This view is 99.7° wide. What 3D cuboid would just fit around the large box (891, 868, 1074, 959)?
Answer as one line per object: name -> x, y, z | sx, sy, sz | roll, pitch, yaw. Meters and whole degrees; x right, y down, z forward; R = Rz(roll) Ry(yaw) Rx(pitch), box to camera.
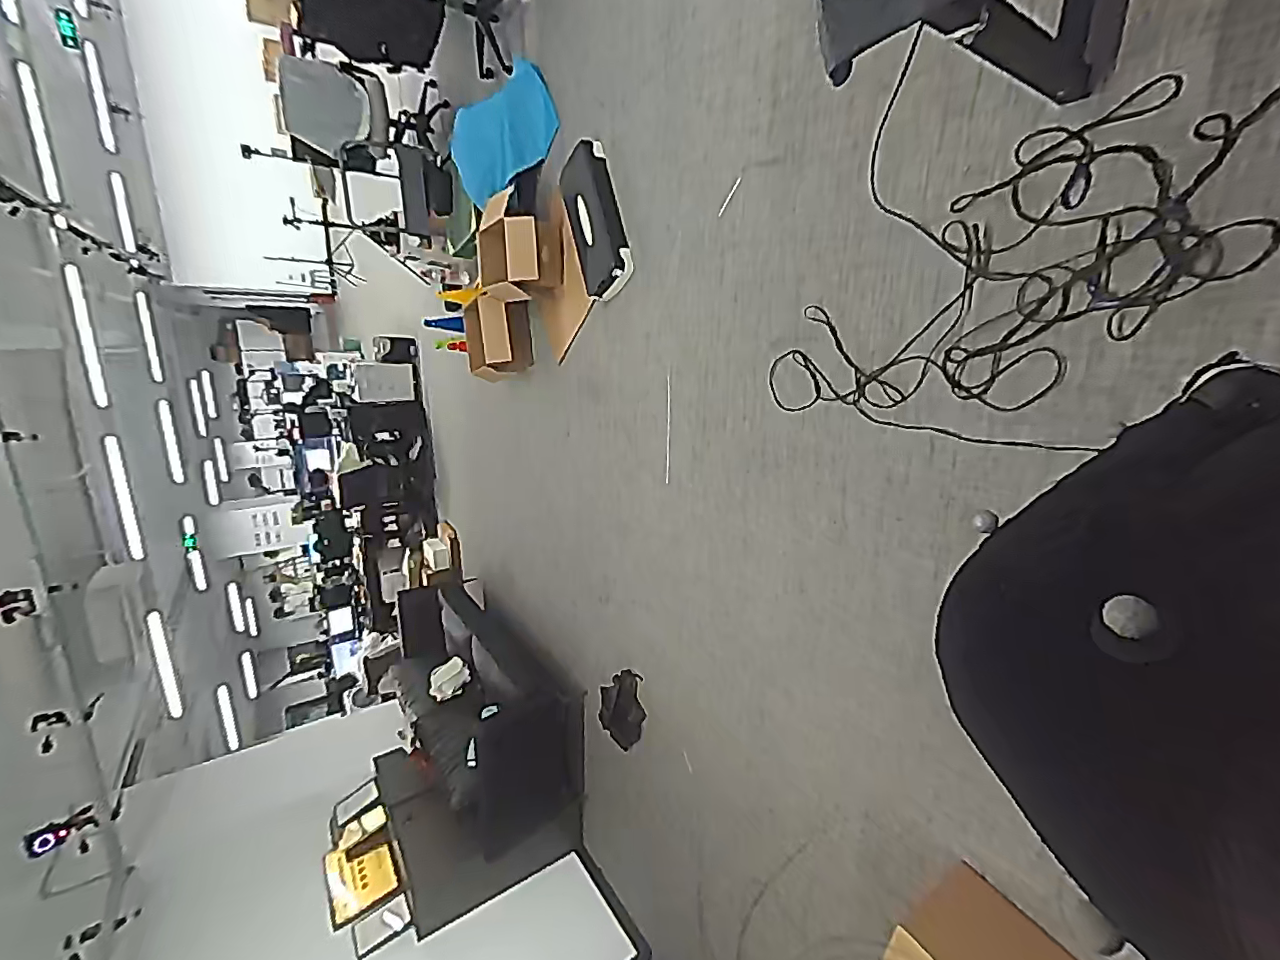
large box -> 0.863, 1.276, 1.294 | 0.408, 0.320, 0.320 | 31, 122, 51
